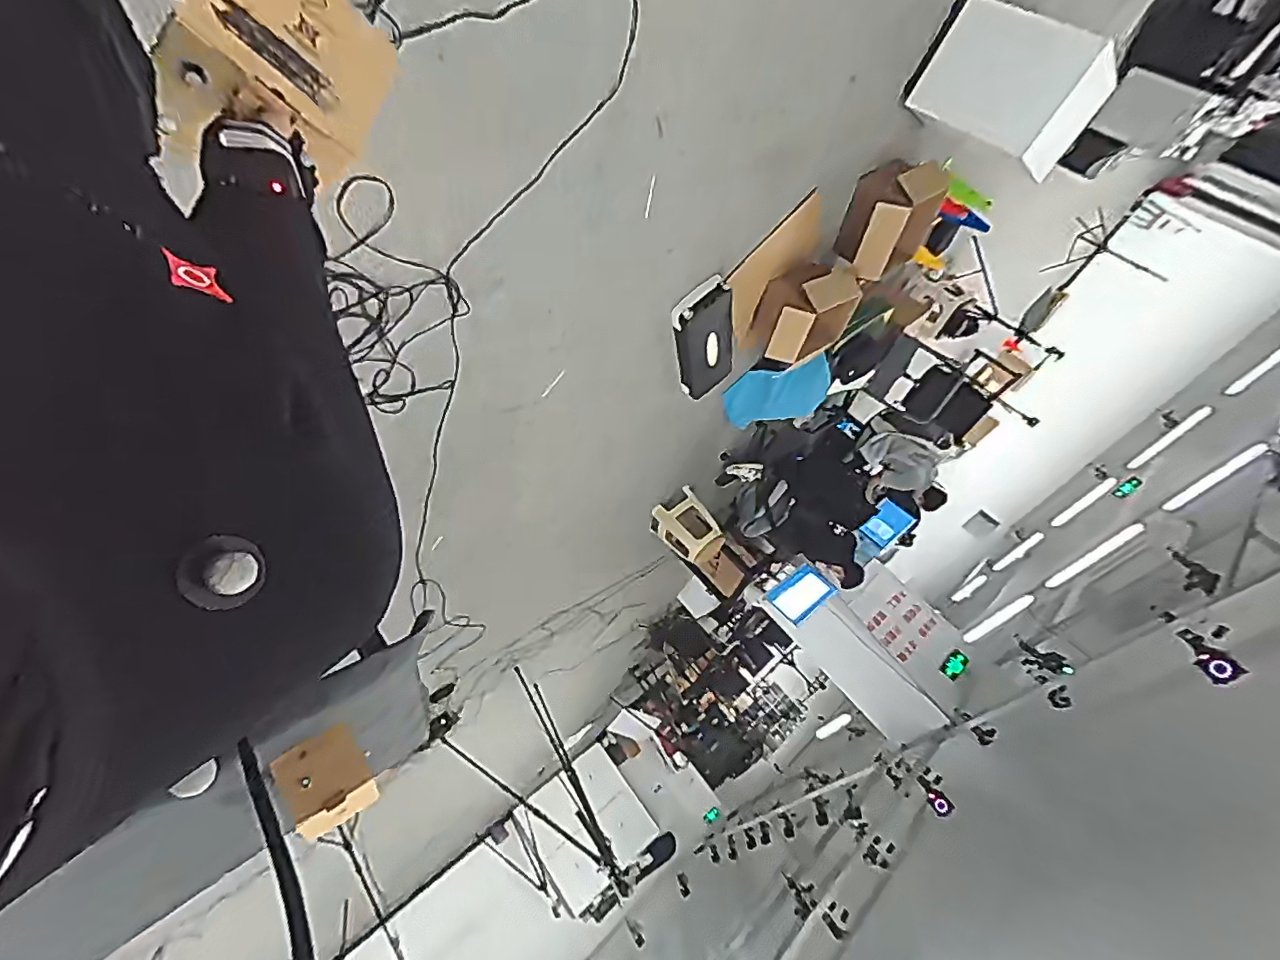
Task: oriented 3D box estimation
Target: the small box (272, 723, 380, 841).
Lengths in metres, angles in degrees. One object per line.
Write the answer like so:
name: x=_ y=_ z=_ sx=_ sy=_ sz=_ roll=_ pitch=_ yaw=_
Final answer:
small box: x=-0.744 y=0.711 z=1.286 sx=0.168 sy=0.176 sz=0.179 roll=-24 pitch=152 yaw=-35
